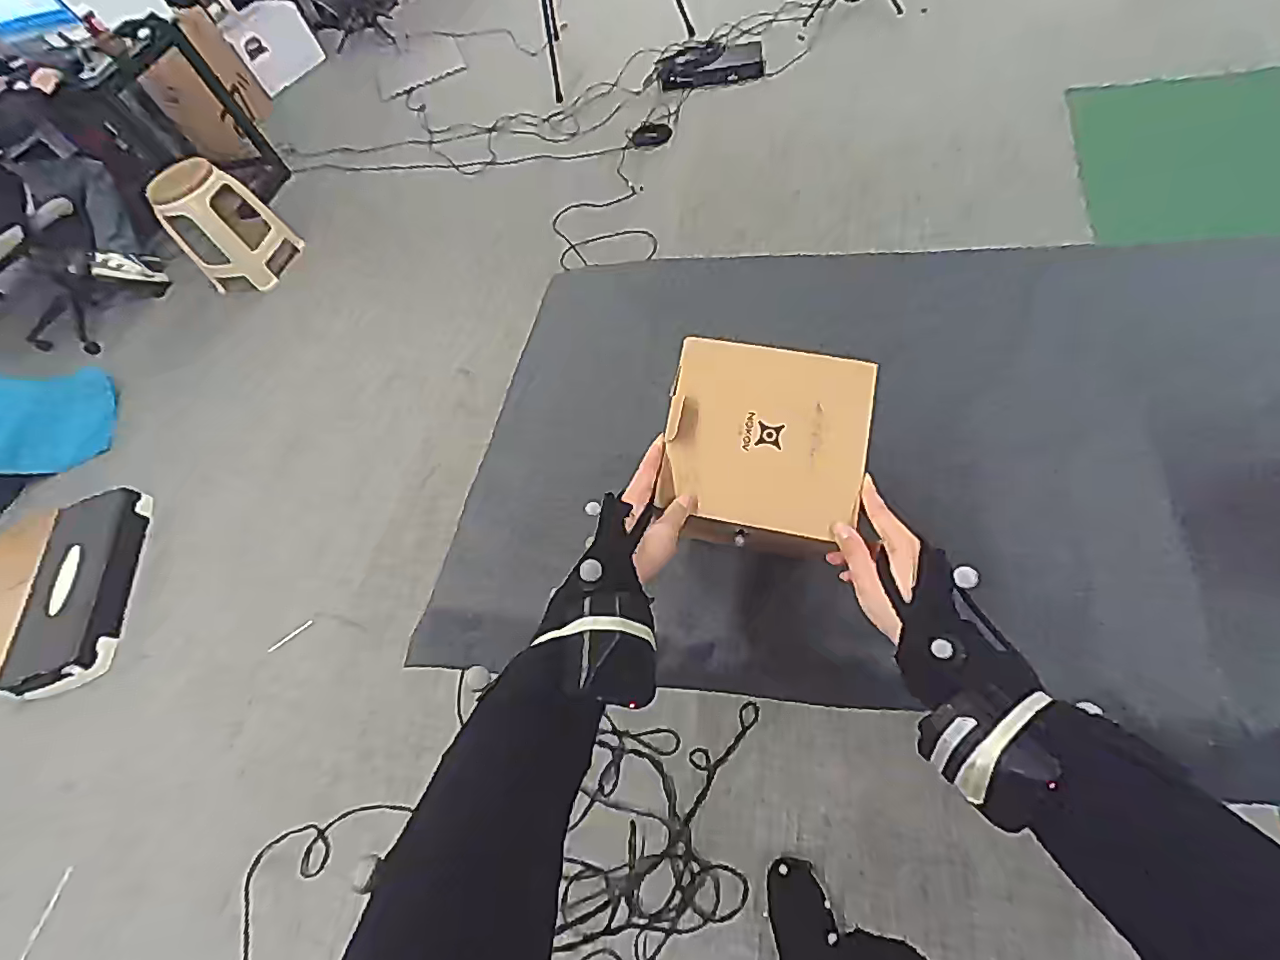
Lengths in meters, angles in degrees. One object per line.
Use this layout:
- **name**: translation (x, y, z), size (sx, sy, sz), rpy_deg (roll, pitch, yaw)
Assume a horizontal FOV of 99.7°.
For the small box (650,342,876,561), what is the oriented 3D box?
- **small box**: translation (0.114, -0.017, 0.548), size (0.179, 0.176, 0.168), rpy_deg (10, 78, 6)
